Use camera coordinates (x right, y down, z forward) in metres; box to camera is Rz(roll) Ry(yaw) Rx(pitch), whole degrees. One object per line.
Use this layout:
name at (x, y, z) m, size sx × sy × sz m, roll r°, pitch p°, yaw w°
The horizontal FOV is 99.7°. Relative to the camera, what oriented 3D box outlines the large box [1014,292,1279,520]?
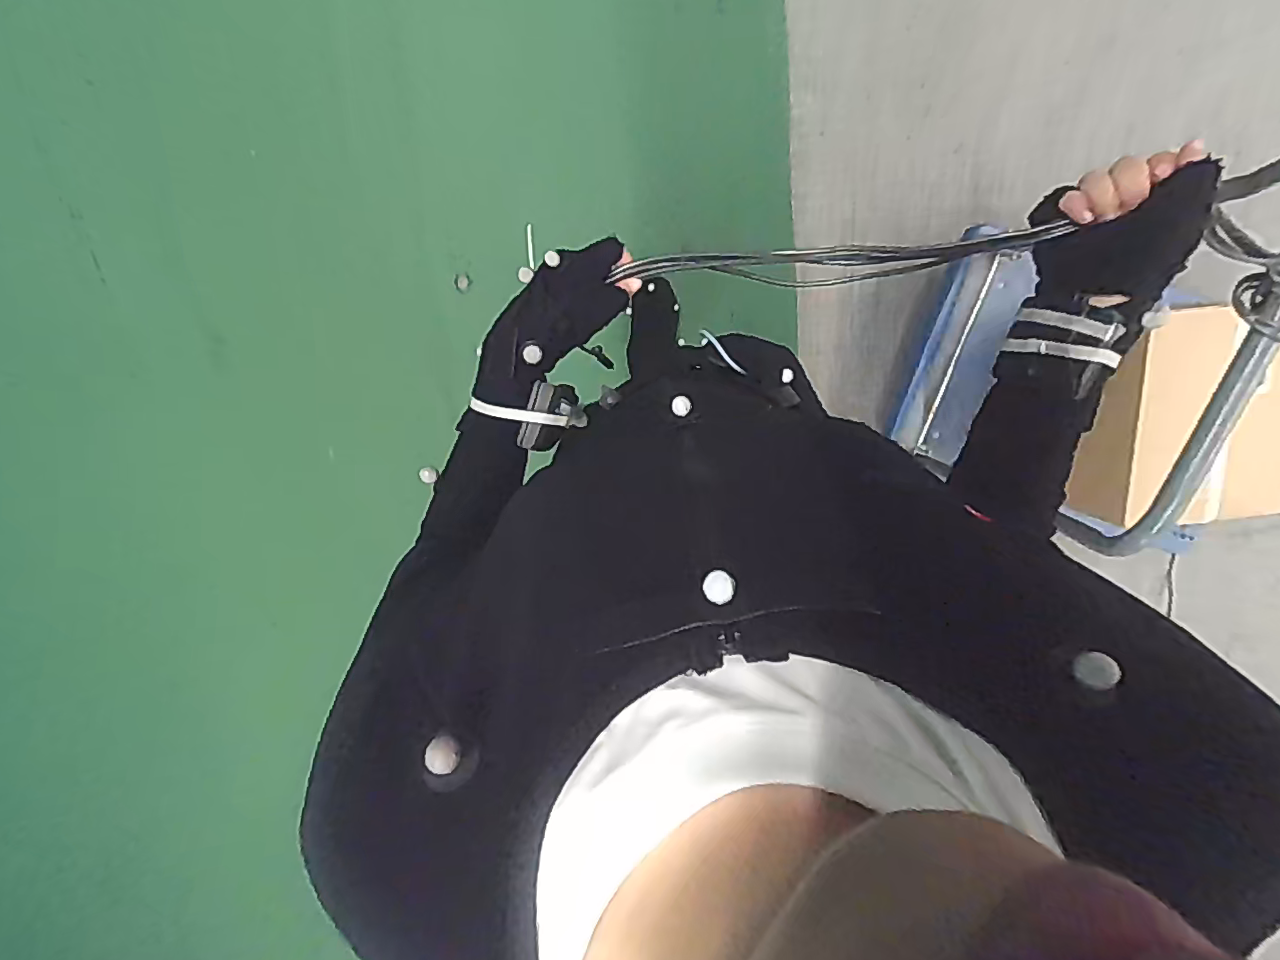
large box at (1.053, -0.162, 1.144) m, size 0.320 × 0.320 × 0.408 m, roll -5°, pitch 104°, yaw 0°
